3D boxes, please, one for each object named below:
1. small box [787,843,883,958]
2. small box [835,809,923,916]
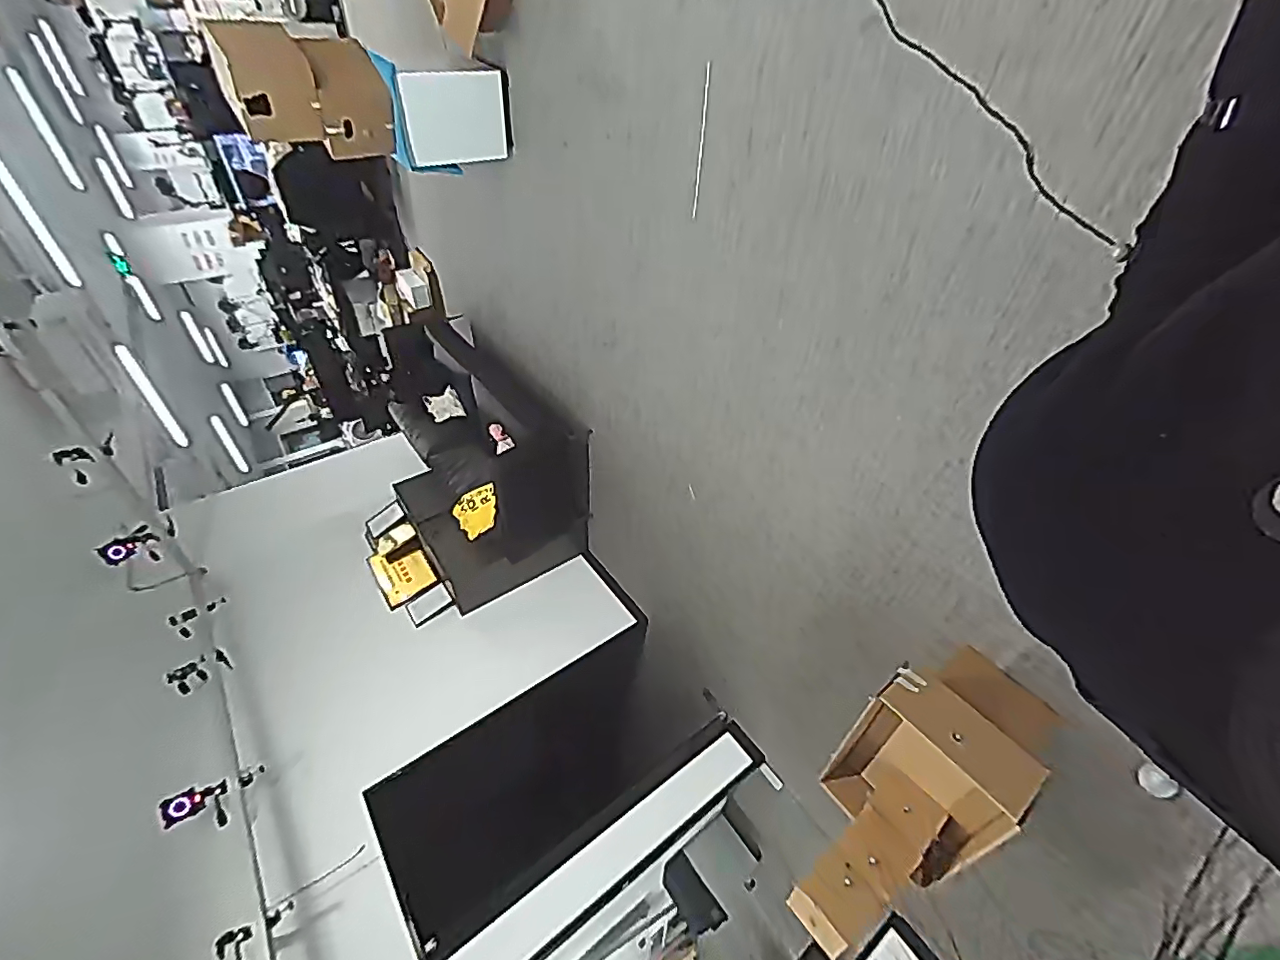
[{"bbox_3d":[0.540,1.162,1.499,0.168,0.176,0.179,39,142,37],"label":"small box"},{"bbox_3d":[0.676,1.096,1.567,0.179,0.176,0.168,37,141,39],"label":"small box"}]
